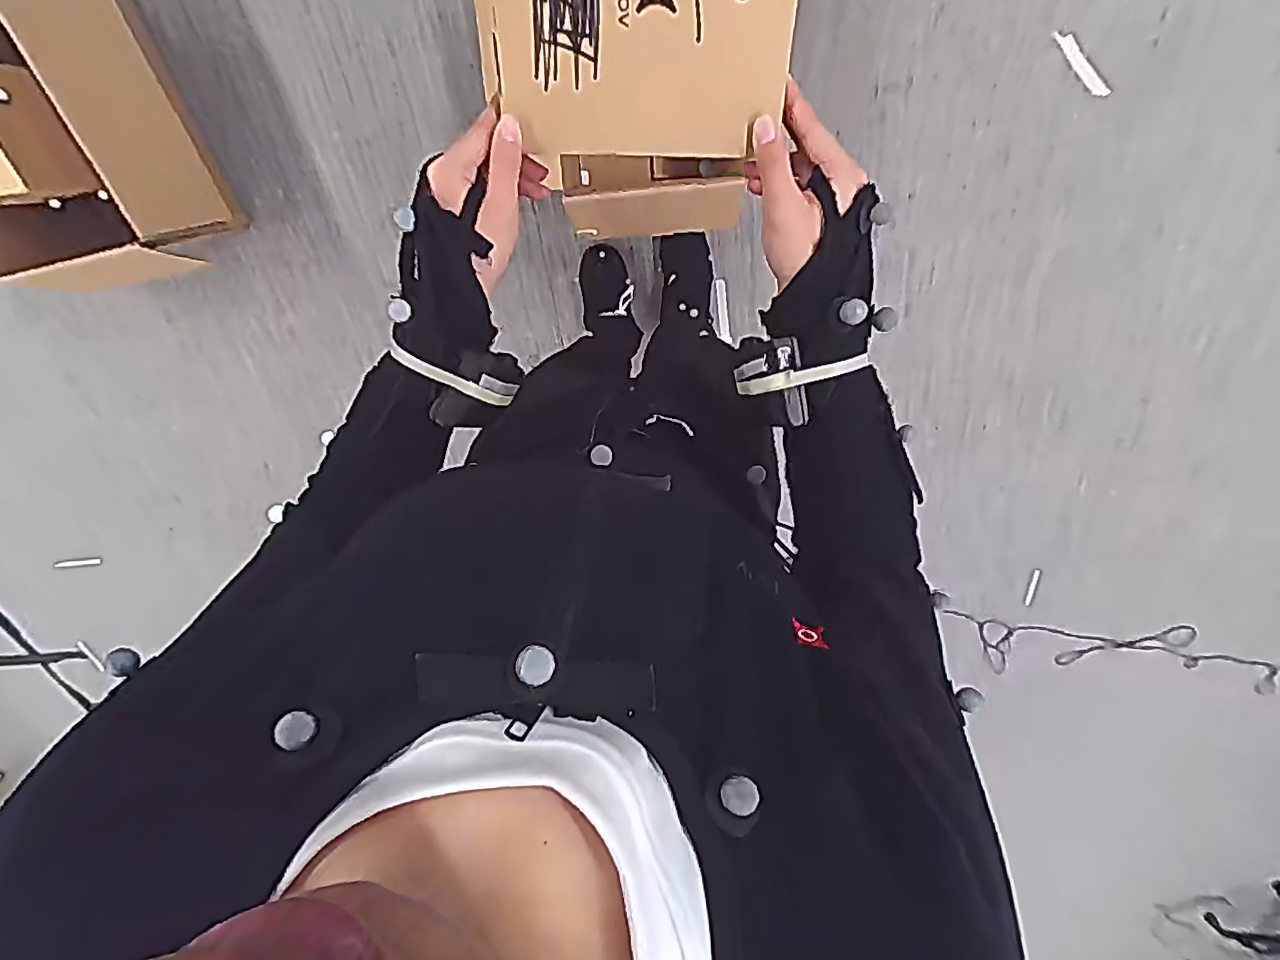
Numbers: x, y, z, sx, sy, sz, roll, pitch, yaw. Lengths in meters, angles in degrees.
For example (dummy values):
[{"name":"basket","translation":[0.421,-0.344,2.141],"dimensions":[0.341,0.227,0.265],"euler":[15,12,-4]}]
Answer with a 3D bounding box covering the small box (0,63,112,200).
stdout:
[{"name":"small box","translation":[-1.045,-0.561,0.878],"dimensions":[0.168,0.176,0.179],"euler":[-7,121,6]}]
